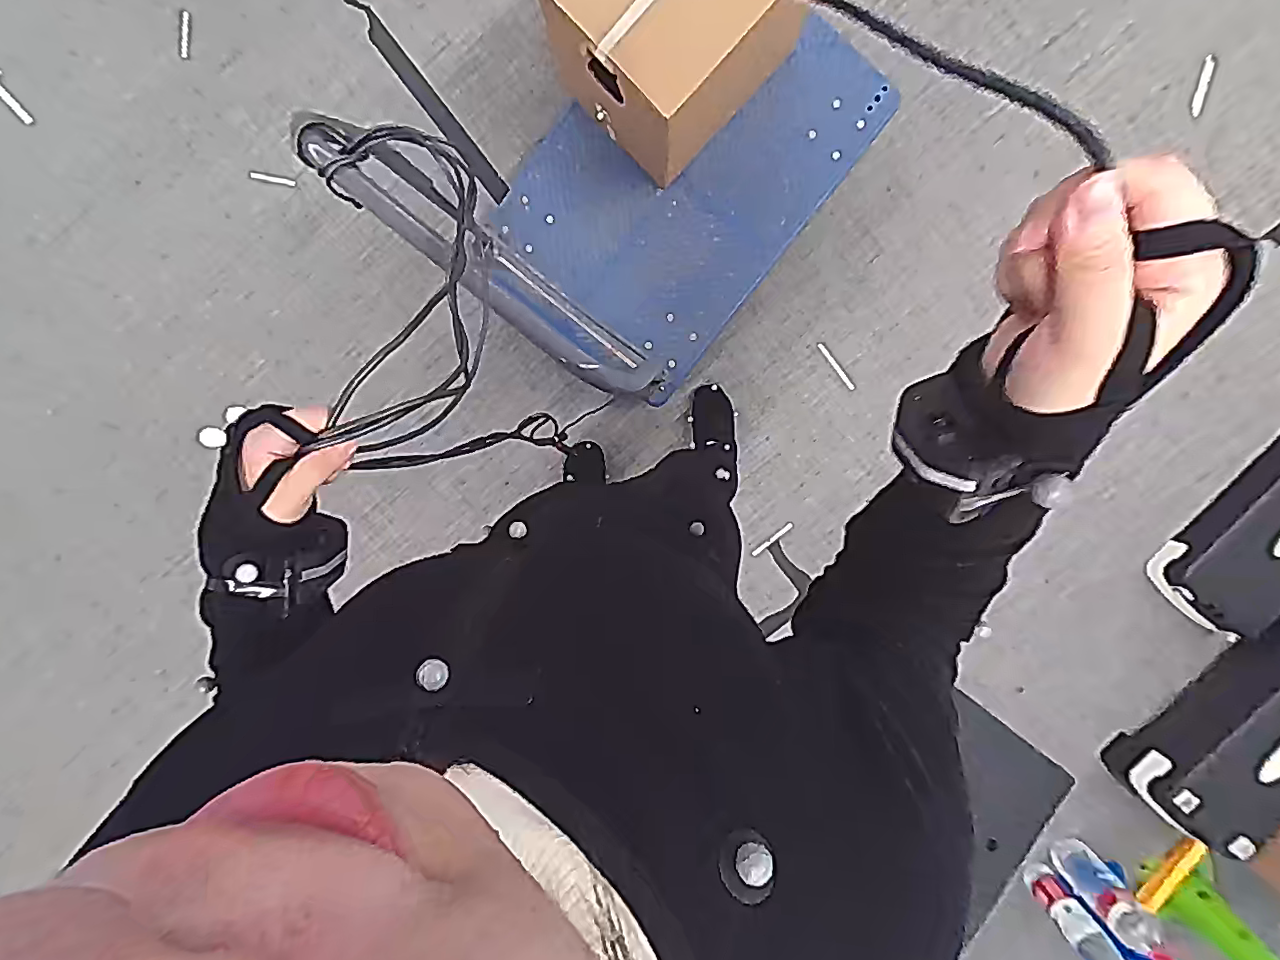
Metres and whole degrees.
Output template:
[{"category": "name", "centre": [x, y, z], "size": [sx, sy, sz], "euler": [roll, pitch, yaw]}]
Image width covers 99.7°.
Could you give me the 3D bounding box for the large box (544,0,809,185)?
[{"category": "large box", "centre": [0.081, -0.876, 1.026], "size": [0.320, 0.320, 0.408], "euler": [44, 96, -5]}]
